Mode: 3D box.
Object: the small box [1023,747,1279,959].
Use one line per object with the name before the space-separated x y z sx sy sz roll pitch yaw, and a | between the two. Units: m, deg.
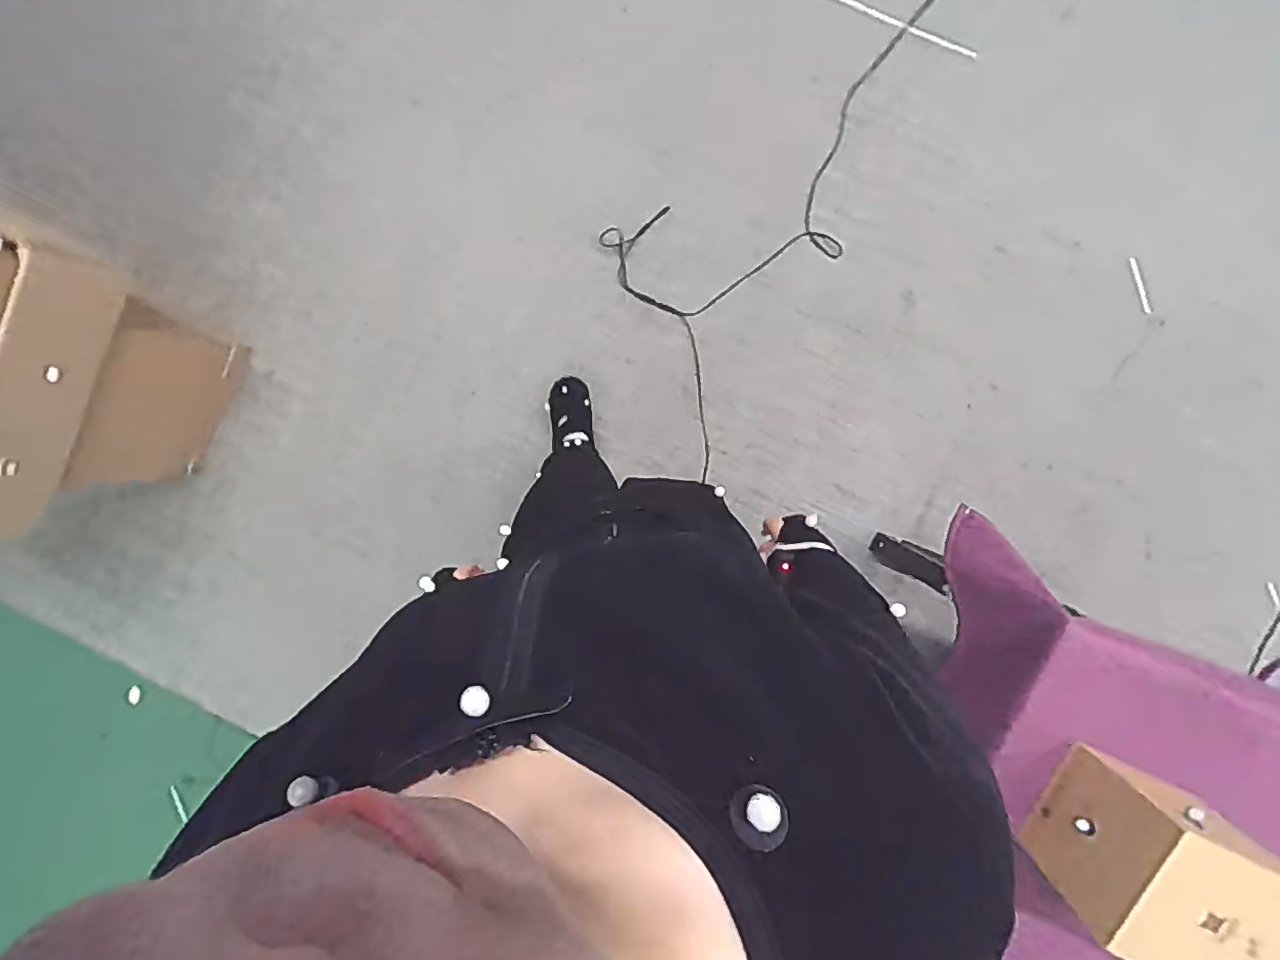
small box | 0.635 0.471 0.672 0.179 0.176 0.168 25 98 1
